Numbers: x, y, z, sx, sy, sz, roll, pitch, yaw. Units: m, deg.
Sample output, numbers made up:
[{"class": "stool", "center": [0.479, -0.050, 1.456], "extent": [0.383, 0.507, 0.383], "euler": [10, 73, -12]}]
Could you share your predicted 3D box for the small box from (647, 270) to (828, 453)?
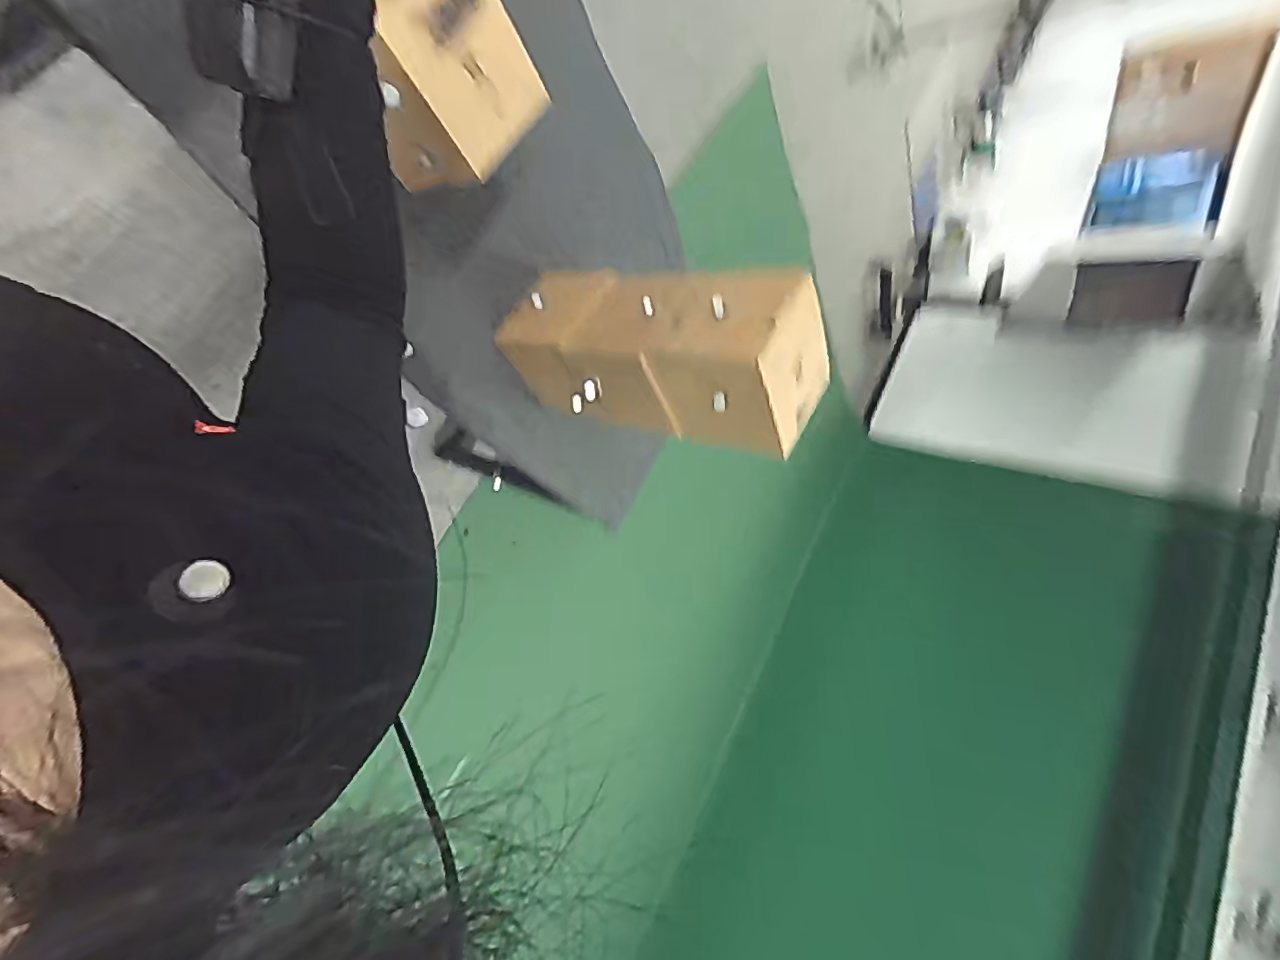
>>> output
[{"class": "small box", "center": [0.136, -0.162, 0.744], "extent": [0.168, 0.176, 0.179], "euler": [-55, 138, -23]}]

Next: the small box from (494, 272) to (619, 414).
[{"class": "small box", "center": [-0.113, -0.242, 0.939], "extent": [0.168, 0.176, 0.179], "euler": [-58, 141, -21]}]

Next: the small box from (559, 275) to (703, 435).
[{"class": "small box", "center": [0.008, -0.199, 0.840], "extent": [0.179, 0.176, 0.168], "euler": [-55, 138, -21]}]
